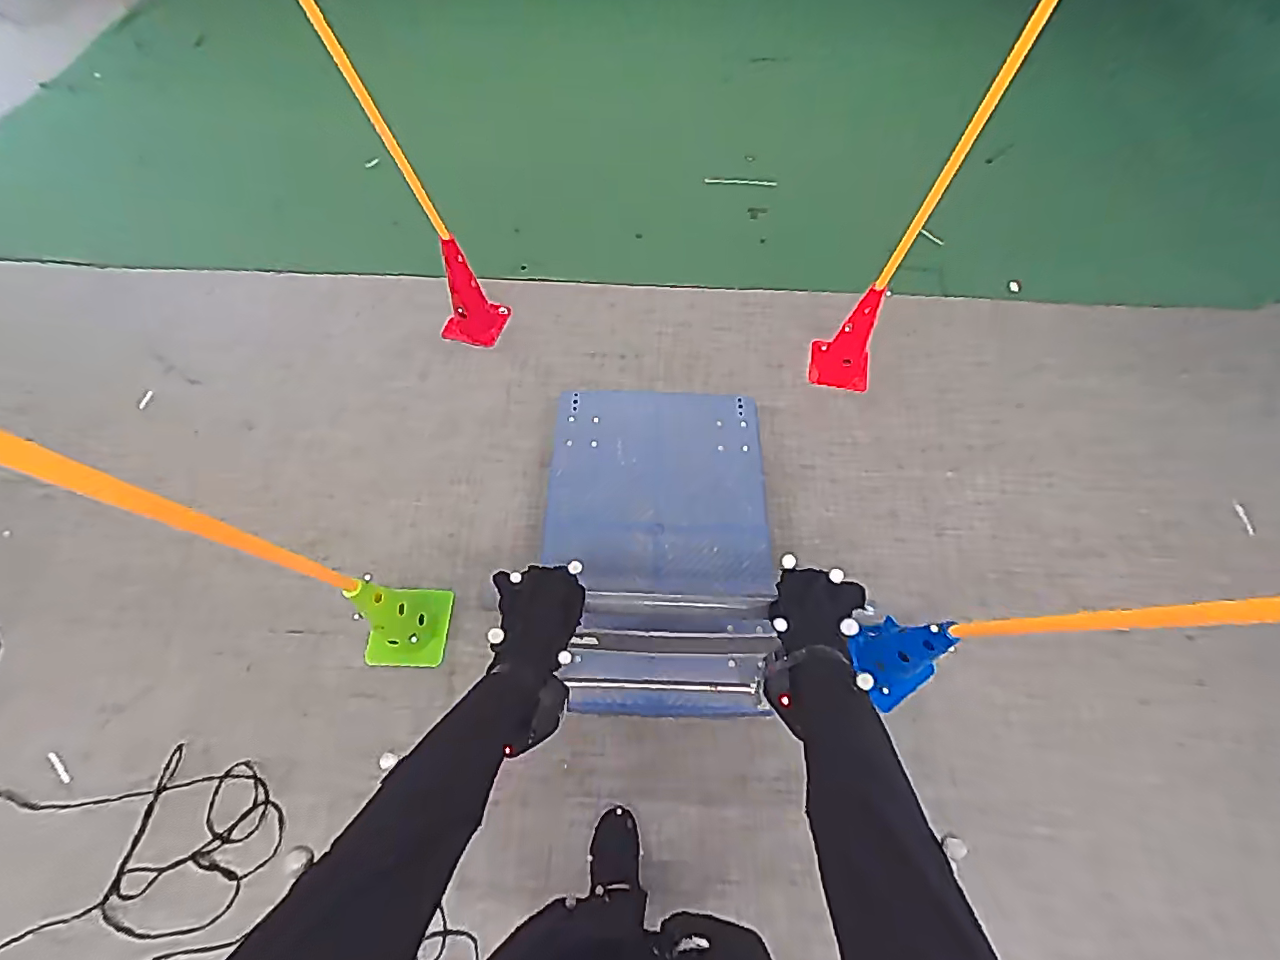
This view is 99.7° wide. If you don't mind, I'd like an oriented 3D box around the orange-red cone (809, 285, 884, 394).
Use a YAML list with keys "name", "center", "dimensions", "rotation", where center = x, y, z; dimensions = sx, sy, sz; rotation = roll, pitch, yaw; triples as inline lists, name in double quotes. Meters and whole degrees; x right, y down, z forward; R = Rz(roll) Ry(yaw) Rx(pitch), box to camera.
- name: "orange-red cone"
  center: [0.688, -0.466, 1.712]
  dimensions: [0.198, 0.360, 0.199]
  rotation: [12, 63, 7]
